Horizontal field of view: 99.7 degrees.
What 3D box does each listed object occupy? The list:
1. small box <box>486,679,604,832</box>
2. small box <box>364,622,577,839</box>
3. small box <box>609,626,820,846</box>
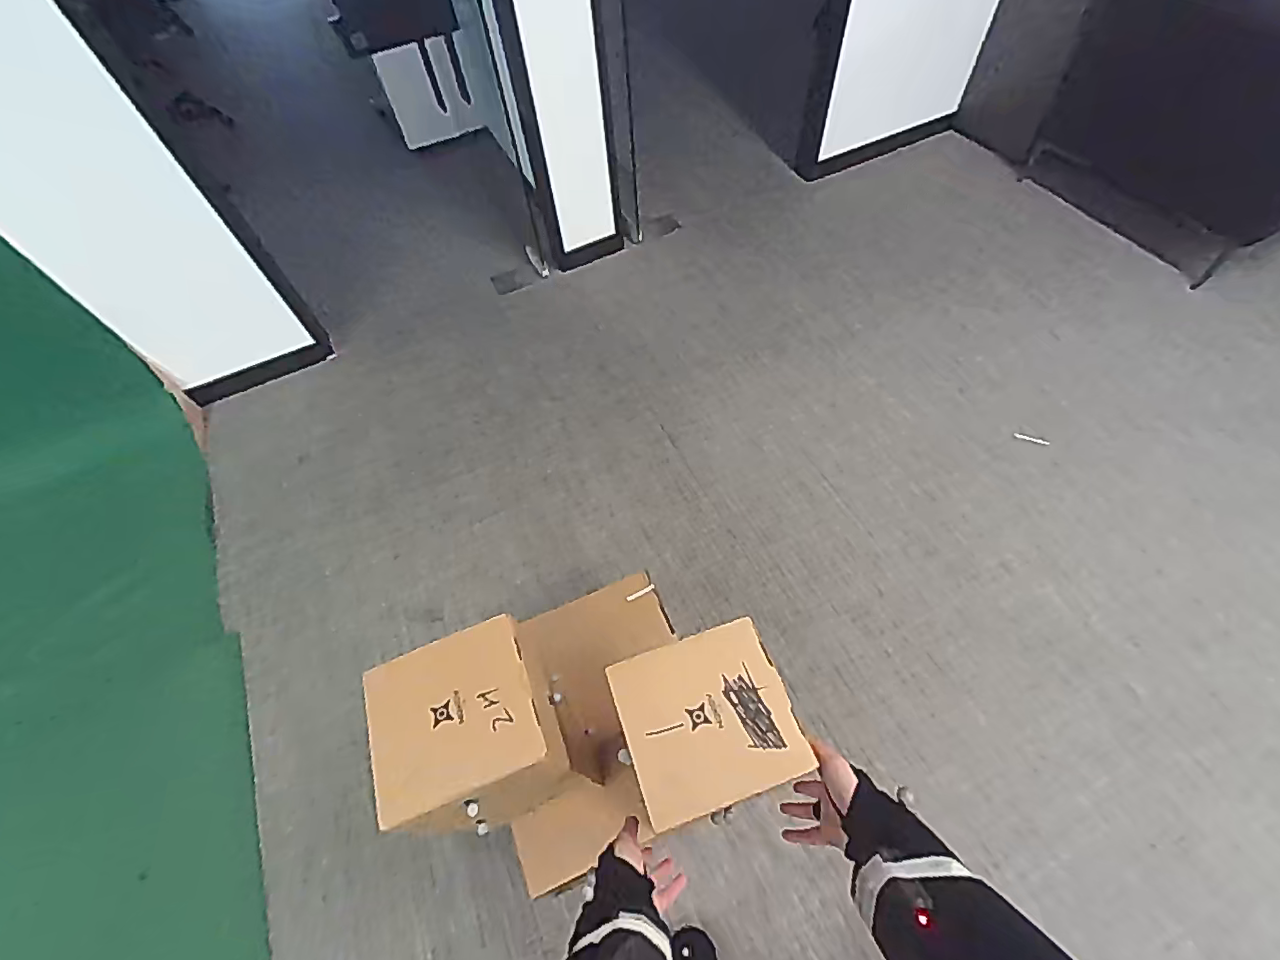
[{"bbox_3d":[-0.170,0.472,0.920,0.168,0.176,0.179,-20,56,-7],"label":"small box"},{"bbox_3d":[-0.192,0.300,0.638,0.179,0.176,0.168,-21,57,-8],"label":"small box"},{"bbox_3d":[0.075,0.294,0.623,0.179,0.176,0.168,-18,57,-7],"label":"small box"}]
